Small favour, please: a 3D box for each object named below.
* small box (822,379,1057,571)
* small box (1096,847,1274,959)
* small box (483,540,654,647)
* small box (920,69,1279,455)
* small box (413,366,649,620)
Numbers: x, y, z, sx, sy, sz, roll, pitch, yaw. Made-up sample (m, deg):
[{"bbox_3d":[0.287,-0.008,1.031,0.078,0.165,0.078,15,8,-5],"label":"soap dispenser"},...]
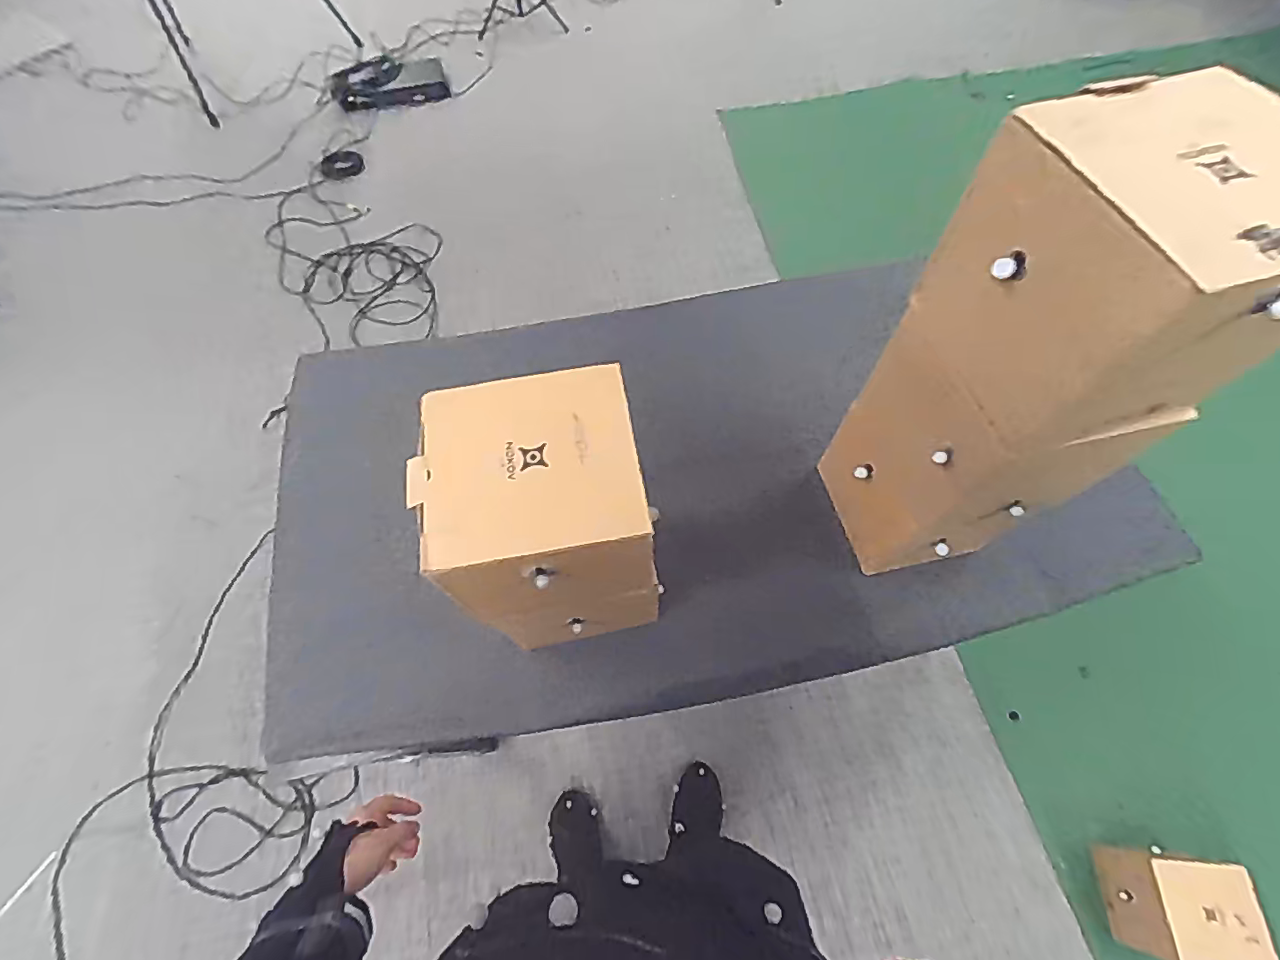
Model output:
[{"bbox_3d":[0.352,0.003,0.678,0.168,0.176,0.179,-12,63,-4],"label":"small box"},{"bbox_3d":[1.048,0.836,1.061,0.179,0.176,0.168,3,65,3],"label":"small box"},{"bbox_3d":[-0.083,0.091,0.647,0.179,0.176,0.168,-11,63,-3],"label":"small box"},{"bbox_3d":[0.340,-0.145,0.385,0.168,0.176,0.179,-15,63,-5],"label":"small box"},{"bbox_3d":[-0.090,0.022,0.501,0.179,0.176,0.168,-10,64,-4],"label":"small box"}]
